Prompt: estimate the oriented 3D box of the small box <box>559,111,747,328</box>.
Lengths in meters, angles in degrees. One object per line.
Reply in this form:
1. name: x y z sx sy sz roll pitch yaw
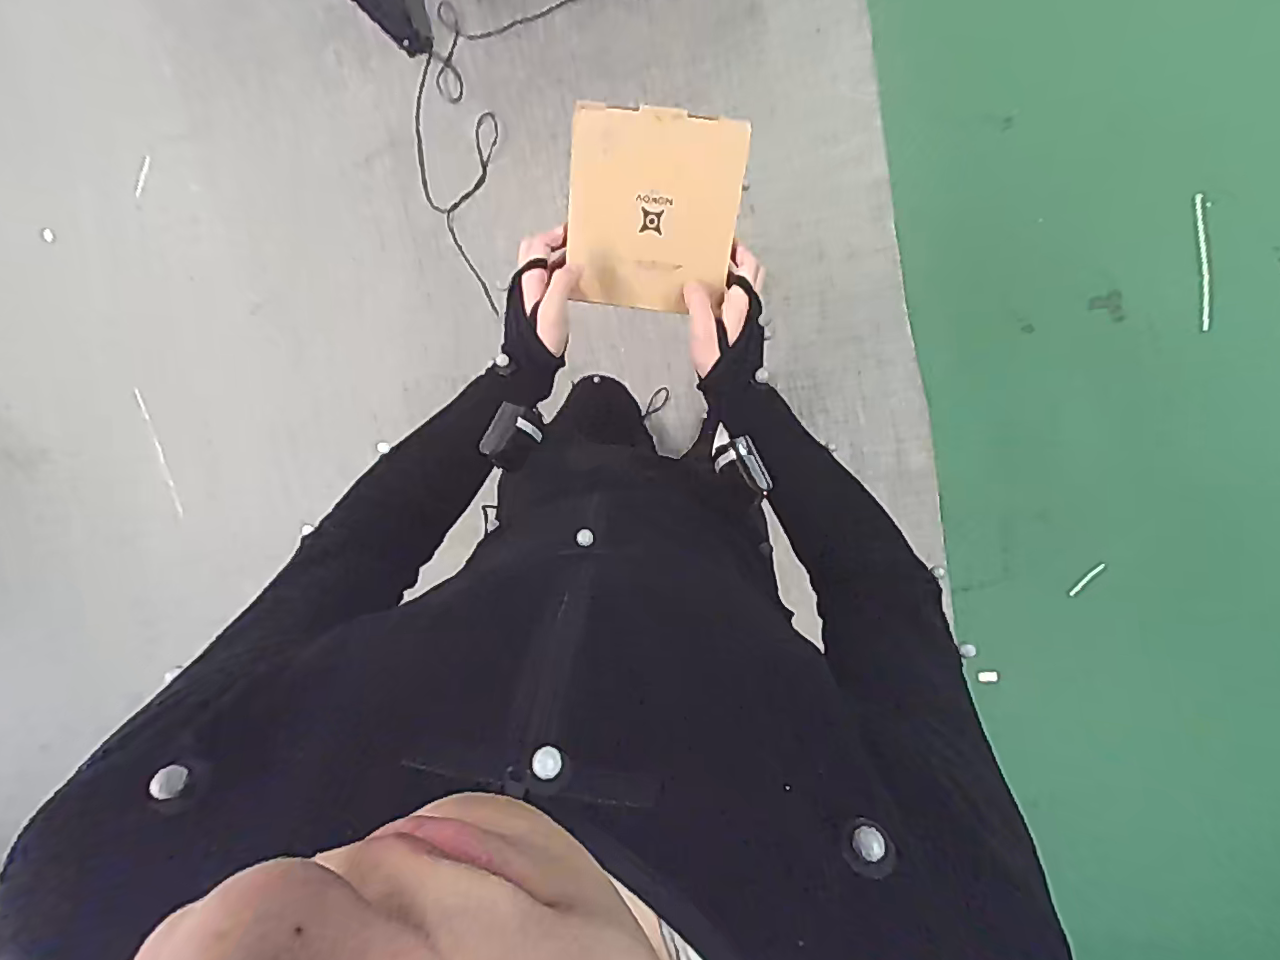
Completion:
1. small box: 0.010 -0.280 0.601 0.168 0.176 0.179 7 115 -1
